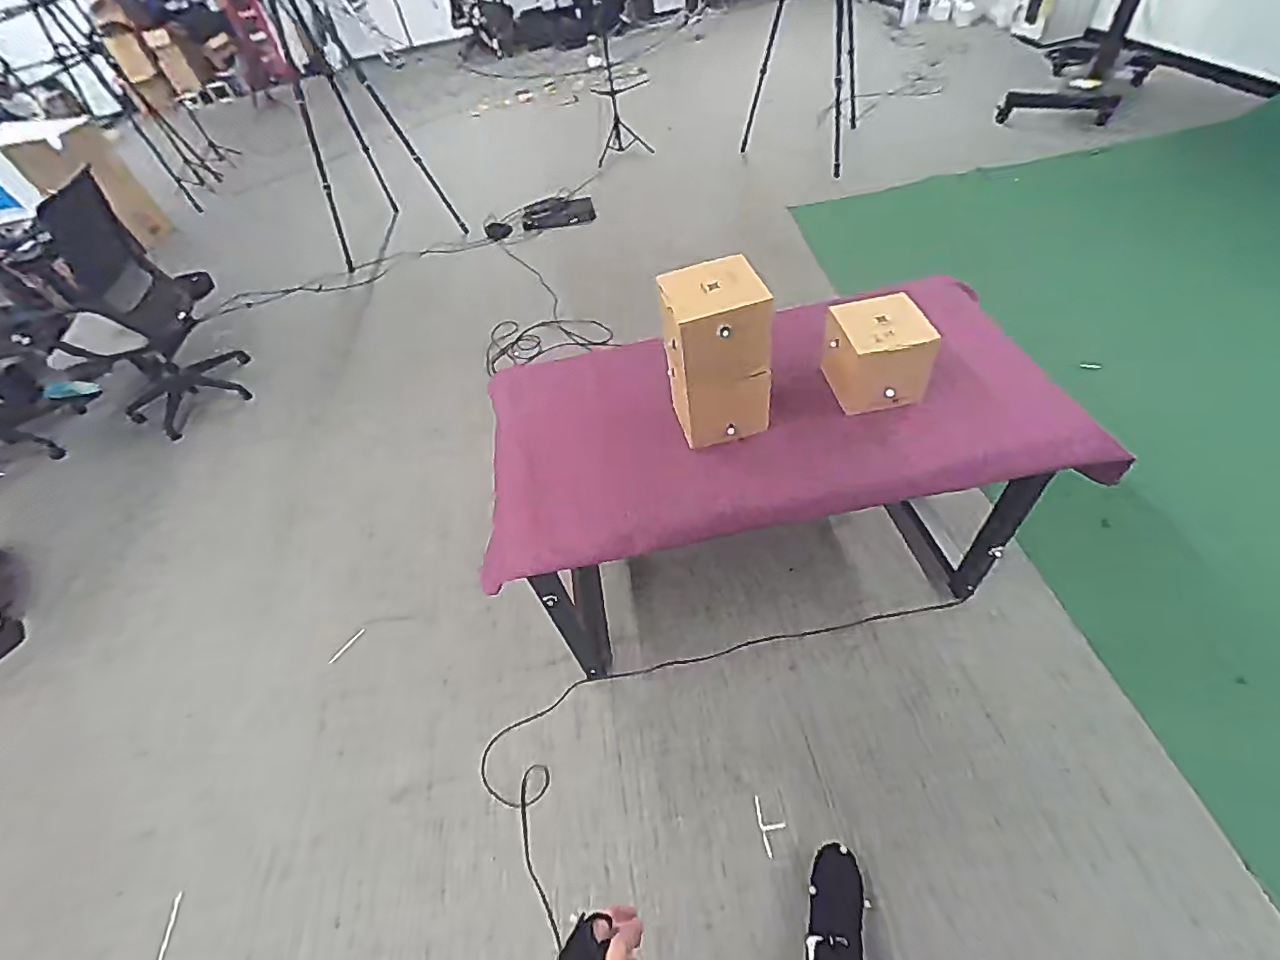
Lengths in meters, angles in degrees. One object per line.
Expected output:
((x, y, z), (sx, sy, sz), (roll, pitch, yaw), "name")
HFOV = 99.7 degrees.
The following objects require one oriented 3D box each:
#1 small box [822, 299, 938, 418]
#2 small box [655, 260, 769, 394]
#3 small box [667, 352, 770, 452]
((0.504, -0.261, 1.167), (0.168, 0.176, 0.179), (-10, 49, 3), "small box")
((0.140, -0.291, 1.046), (0.179, 0.176, 0.168), (-15, 50, -1), "small box")
((0.166, -0.187, 1.170), (0.179, 0.176, 0.168), (-14, 49, -2), "small box")
